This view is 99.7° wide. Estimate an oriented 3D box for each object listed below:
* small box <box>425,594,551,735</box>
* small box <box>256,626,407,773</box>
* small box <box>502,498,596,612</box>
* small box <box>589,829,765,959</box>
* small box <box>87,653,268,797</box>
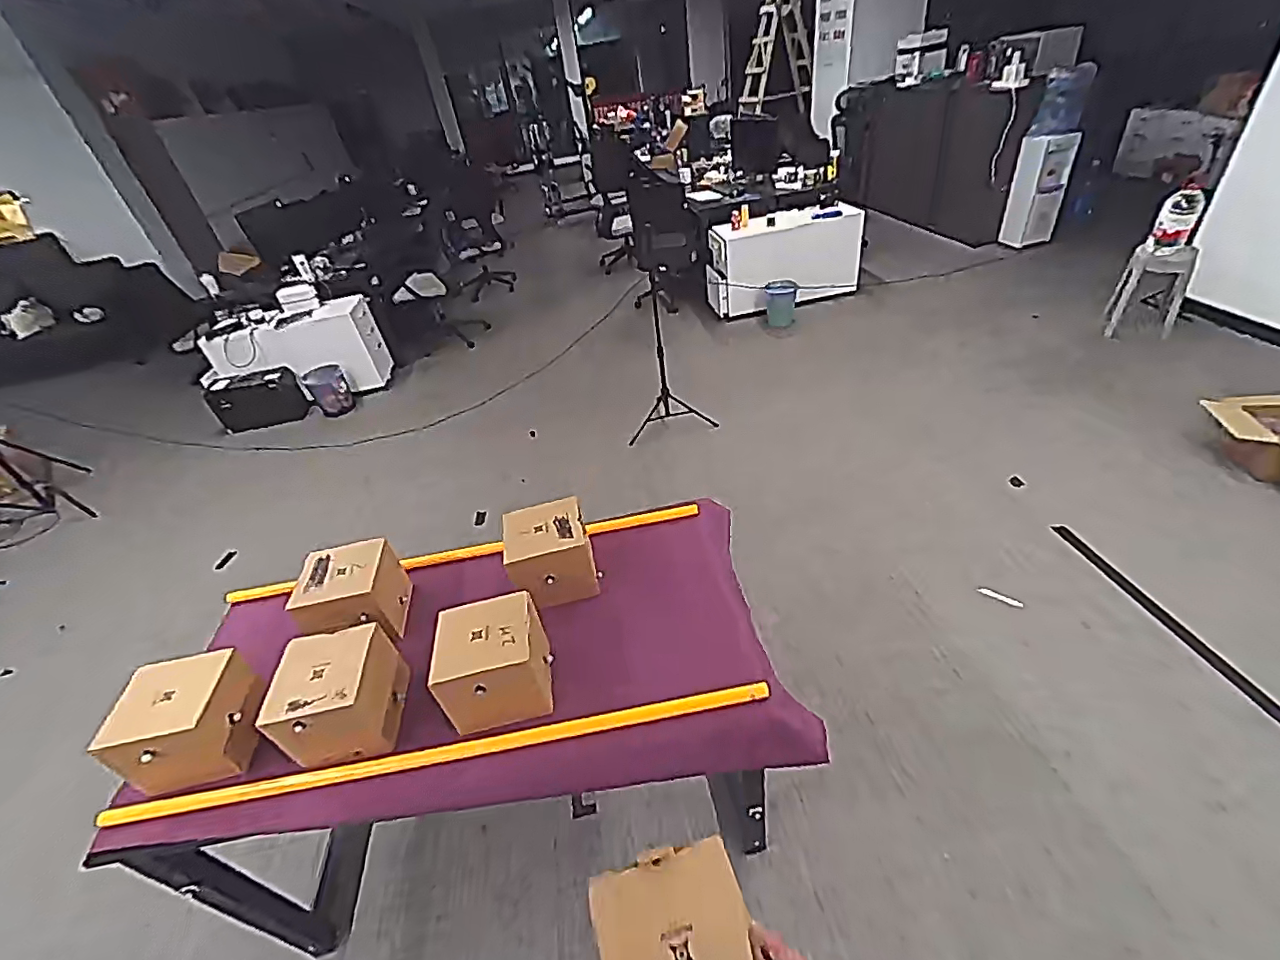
[{"bbox_3d":[-0.275,0.347,1.013,0.179,0.176,0.168,-13,36,-4],"label":"small box"},{"bbox_3d":[-0.555,0.406,1.006,0.168,0.176,0.179,-12,37,-2],"label":"small box"},{"bbox_3d":[-0.203,0.172,1.222,0.179,0.176,0.168,-14,39,-4],"label":"small box"},{"bbox_3d":[0.039,0.546,0.621,0.168,0.176,0.179,-11,44,-13],"label":"small box"},{"bbox_3d":[-0.832,0.456,1.006,0.179,0.176,0.168,-12,37,-4],"label":"small box"}]
